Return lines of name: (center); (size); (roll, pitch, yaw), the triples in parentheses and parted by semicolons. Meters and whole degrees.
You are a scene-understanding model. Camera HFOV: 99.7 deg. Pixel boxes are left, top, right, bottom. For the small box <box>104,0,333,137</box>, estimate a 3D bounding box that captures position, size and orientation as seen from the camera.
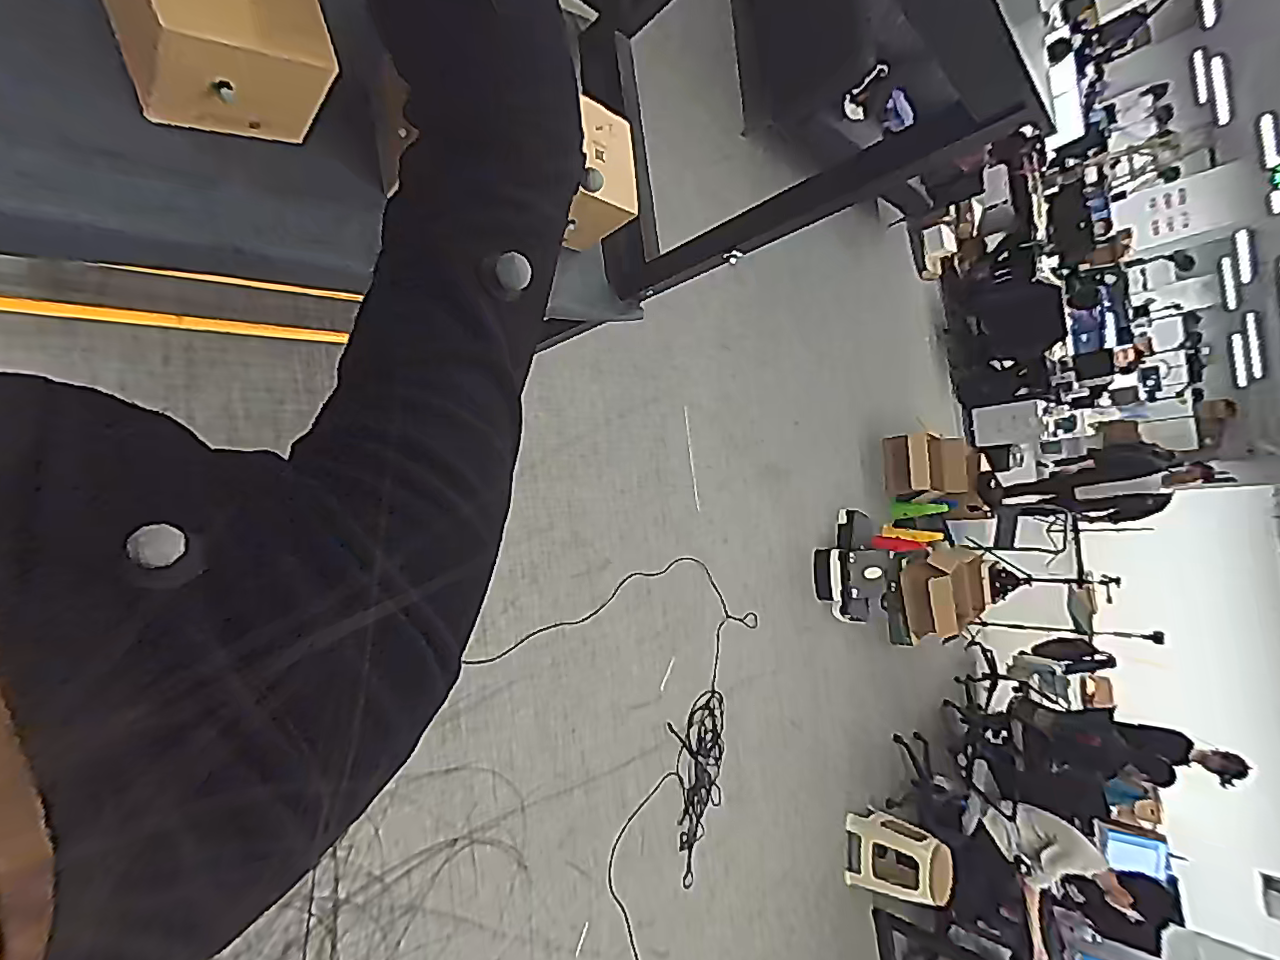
small box: (-0.483, -0.528, 0.613); (0.168, 0.176, 0.179); (-23, 101, -45)
